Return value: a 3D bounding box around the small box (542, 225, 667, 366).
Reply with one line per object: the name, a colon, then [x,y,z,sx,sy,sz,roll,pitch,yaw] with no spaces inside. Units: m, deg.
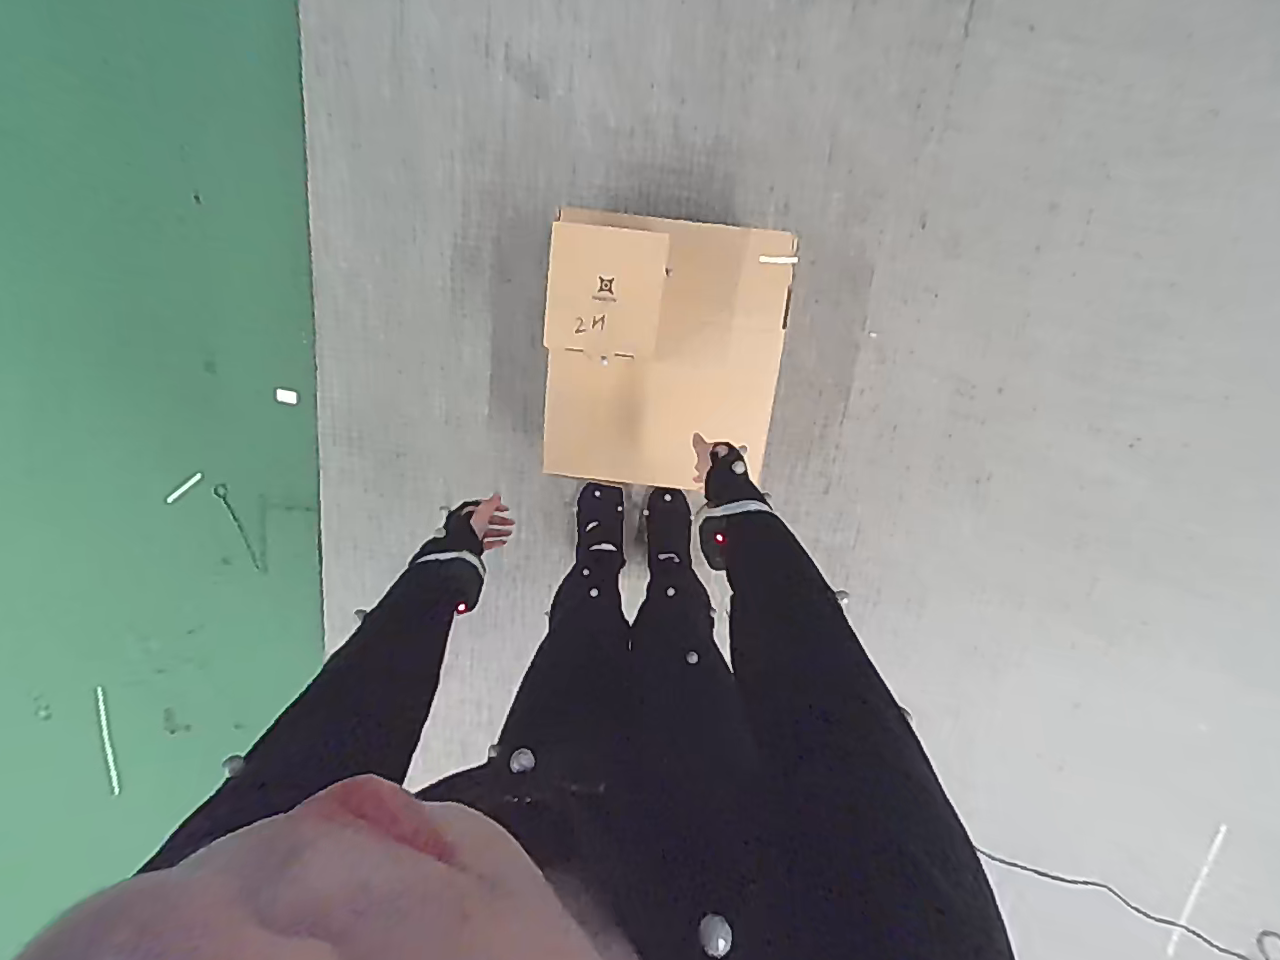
small box: [-0.051,-0.278,0.850,0.168,0.176,0.179,7,101,1]
